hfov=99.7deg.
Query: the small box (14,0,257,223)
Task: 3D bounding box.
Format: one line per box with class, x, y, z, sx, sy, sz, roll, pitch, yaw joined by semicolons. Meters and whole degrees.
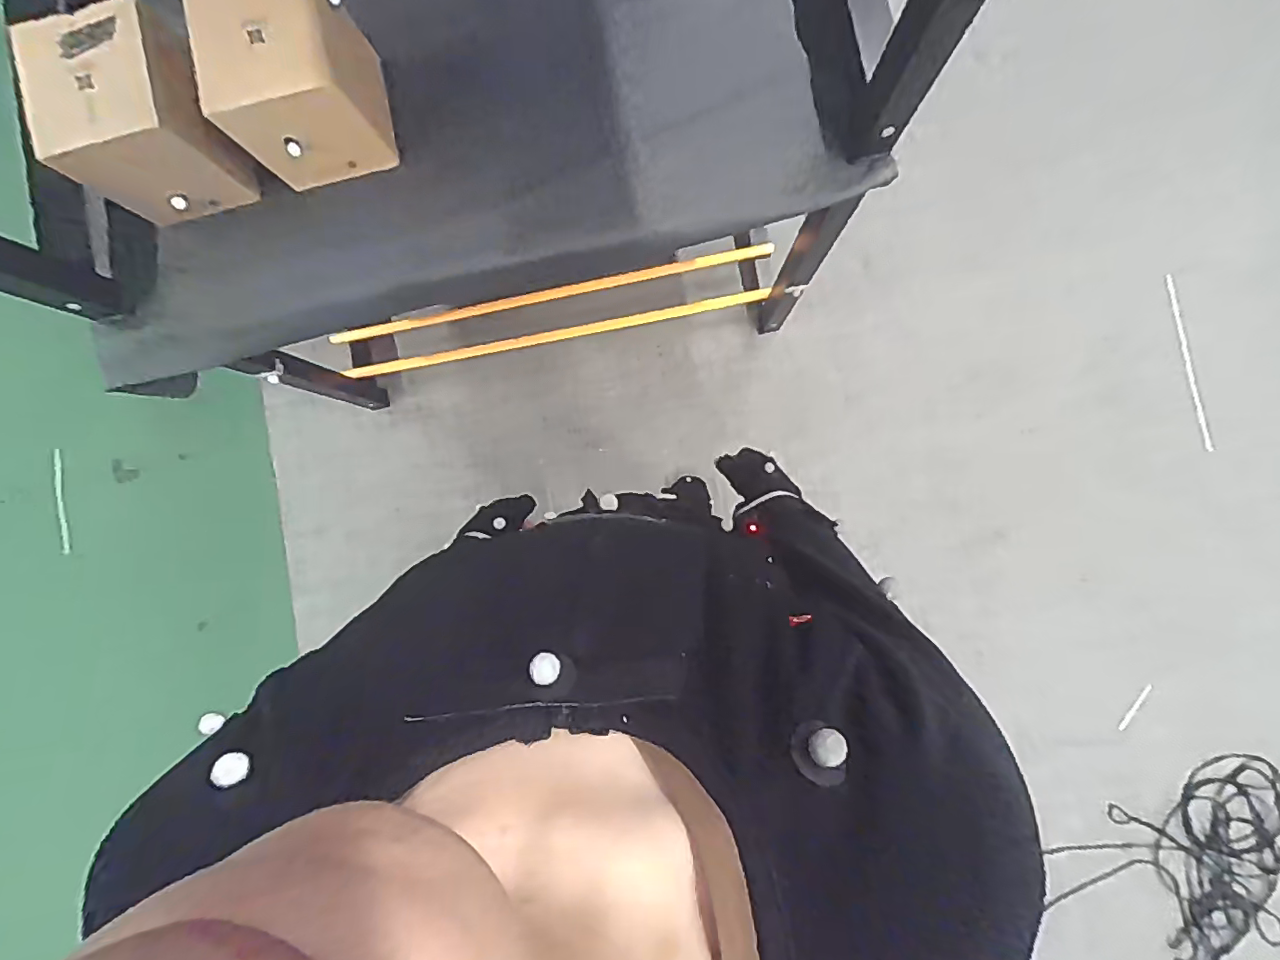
small box;-0.672;-0.491;0.740;0.168;0.176;0.179;-13;87;3
